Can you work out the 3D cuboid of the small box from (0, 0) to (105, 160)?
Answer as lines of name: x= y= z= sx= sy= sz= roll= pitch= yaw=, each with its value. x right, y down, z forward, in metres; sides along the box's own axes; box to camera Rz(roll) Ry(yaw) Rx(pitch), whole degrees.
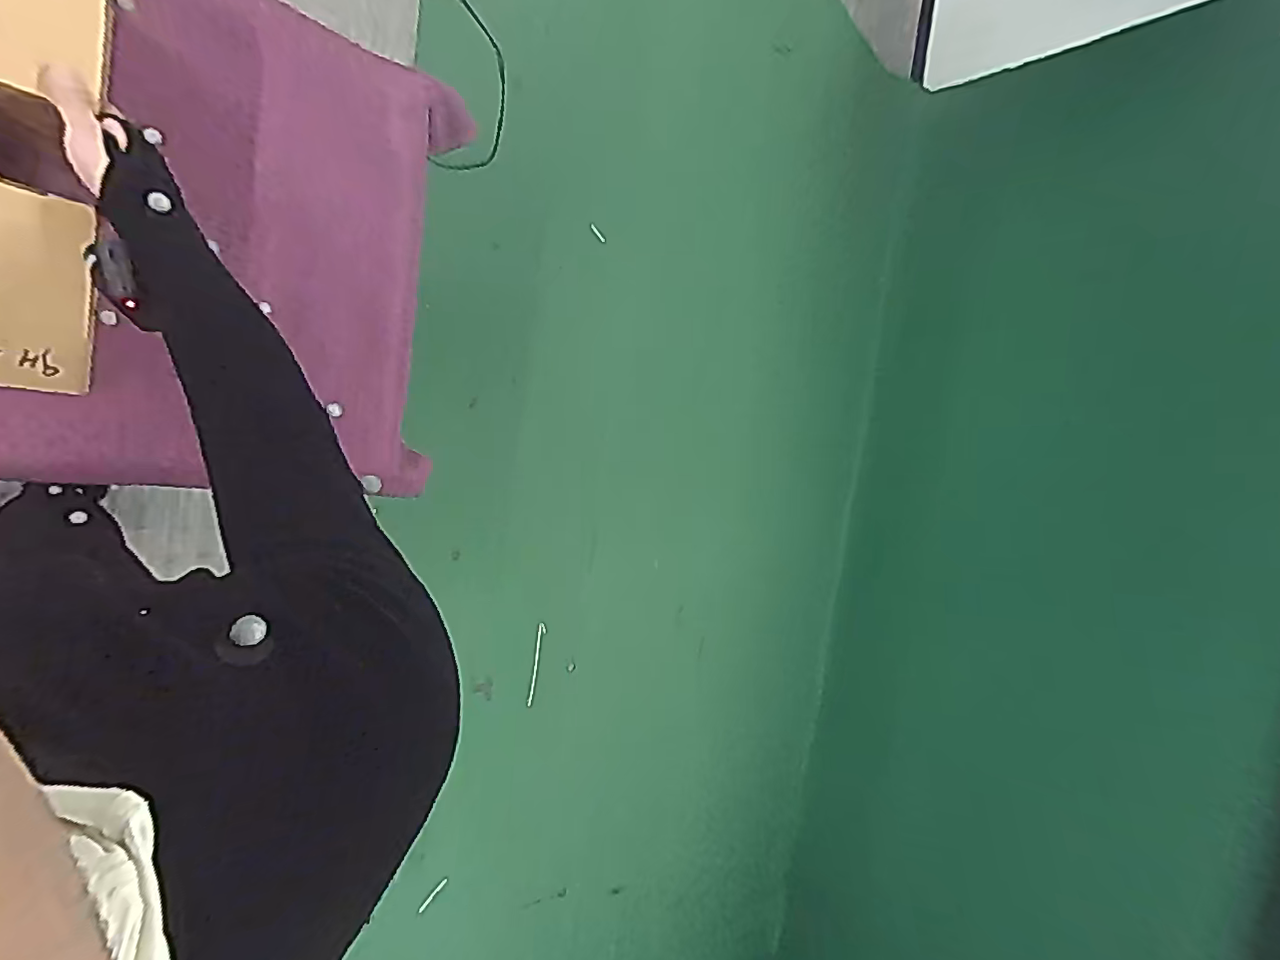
small box: x=-0.596 y=-0.426 z=0.479 sx=0.168 sy=0.176 sz=0.179 roll=5 pitch=95 yaw=-44
